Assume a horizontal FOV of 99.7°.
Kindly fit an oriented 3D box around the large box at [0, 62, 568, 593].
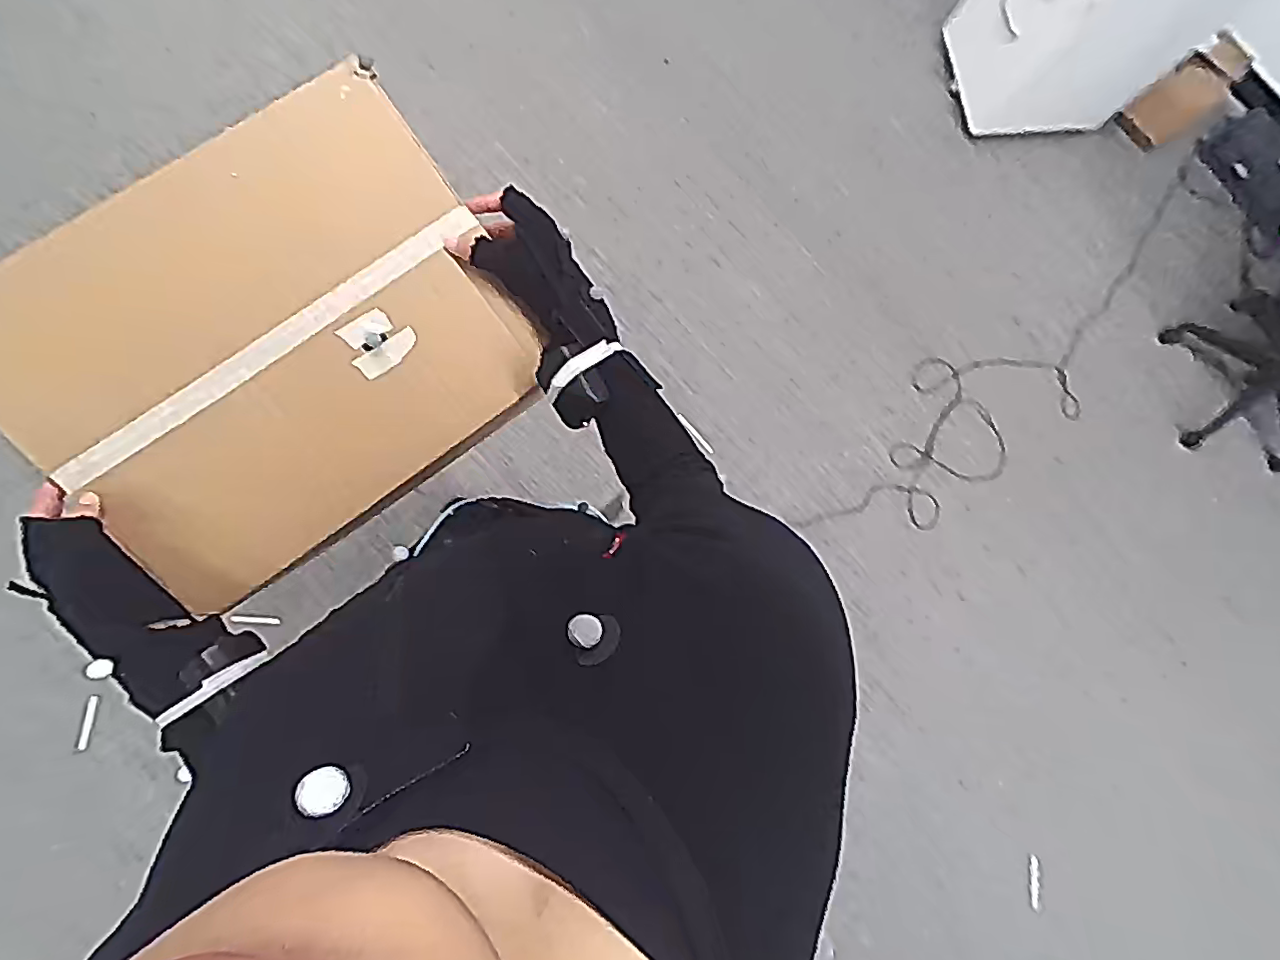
[{"bbox_3d":[-0.344,-0.144,0.630,0.408,0.320,0.320,-38,102,-8],"label":"large box"}]
